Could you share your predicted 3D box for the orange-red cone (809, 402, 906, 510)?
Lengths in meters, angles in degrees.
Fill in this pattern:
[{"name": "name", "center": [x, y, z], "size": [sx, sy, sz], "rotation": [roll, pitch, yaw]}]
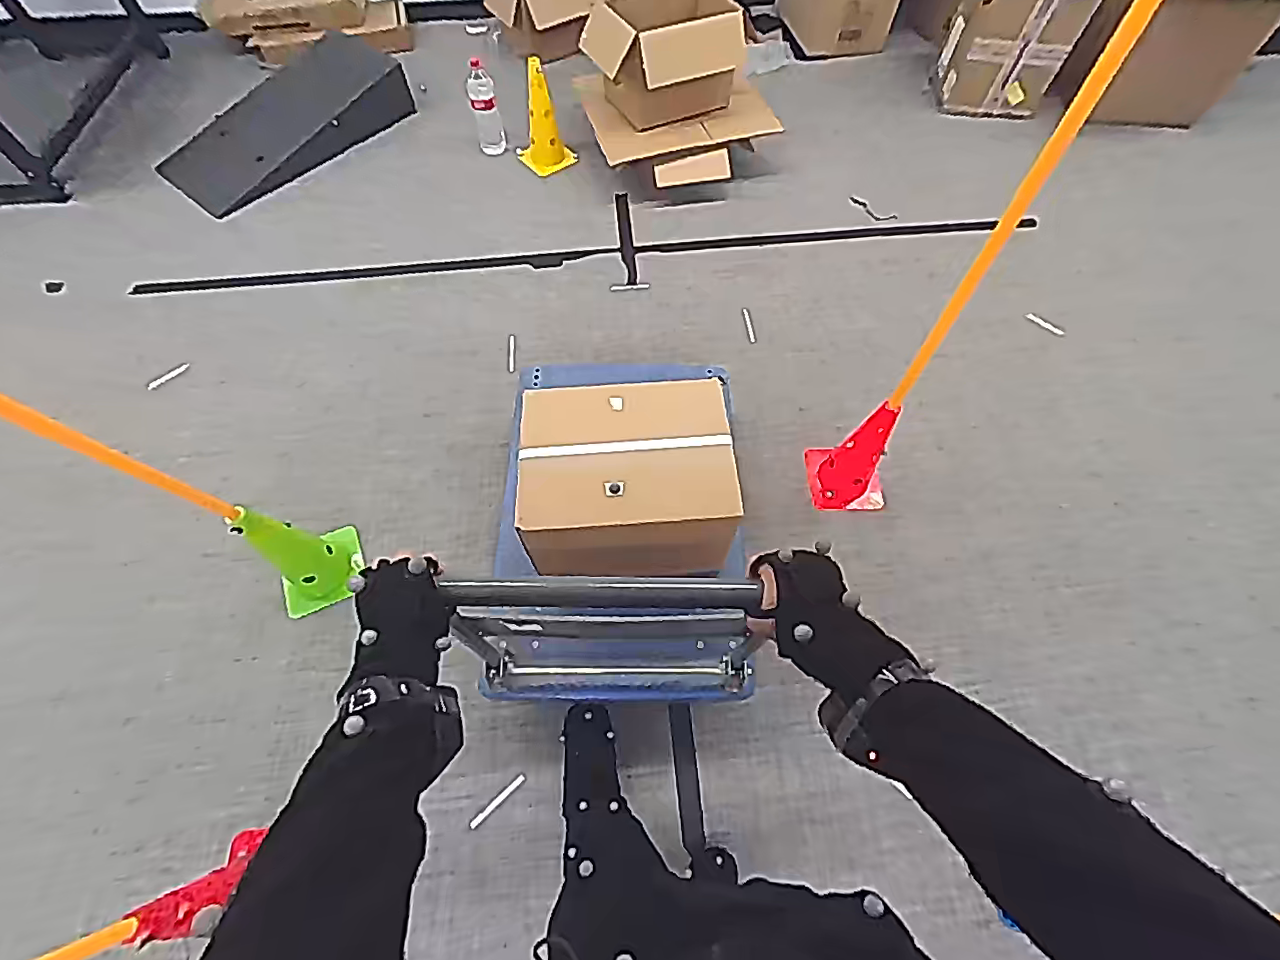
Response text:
[{"name": "orange-red cone", "center": [0.592, -0.084, 1.394], "size": [0.199, 0.360, 0.198], "rotation": [1, 62, -1]}]
